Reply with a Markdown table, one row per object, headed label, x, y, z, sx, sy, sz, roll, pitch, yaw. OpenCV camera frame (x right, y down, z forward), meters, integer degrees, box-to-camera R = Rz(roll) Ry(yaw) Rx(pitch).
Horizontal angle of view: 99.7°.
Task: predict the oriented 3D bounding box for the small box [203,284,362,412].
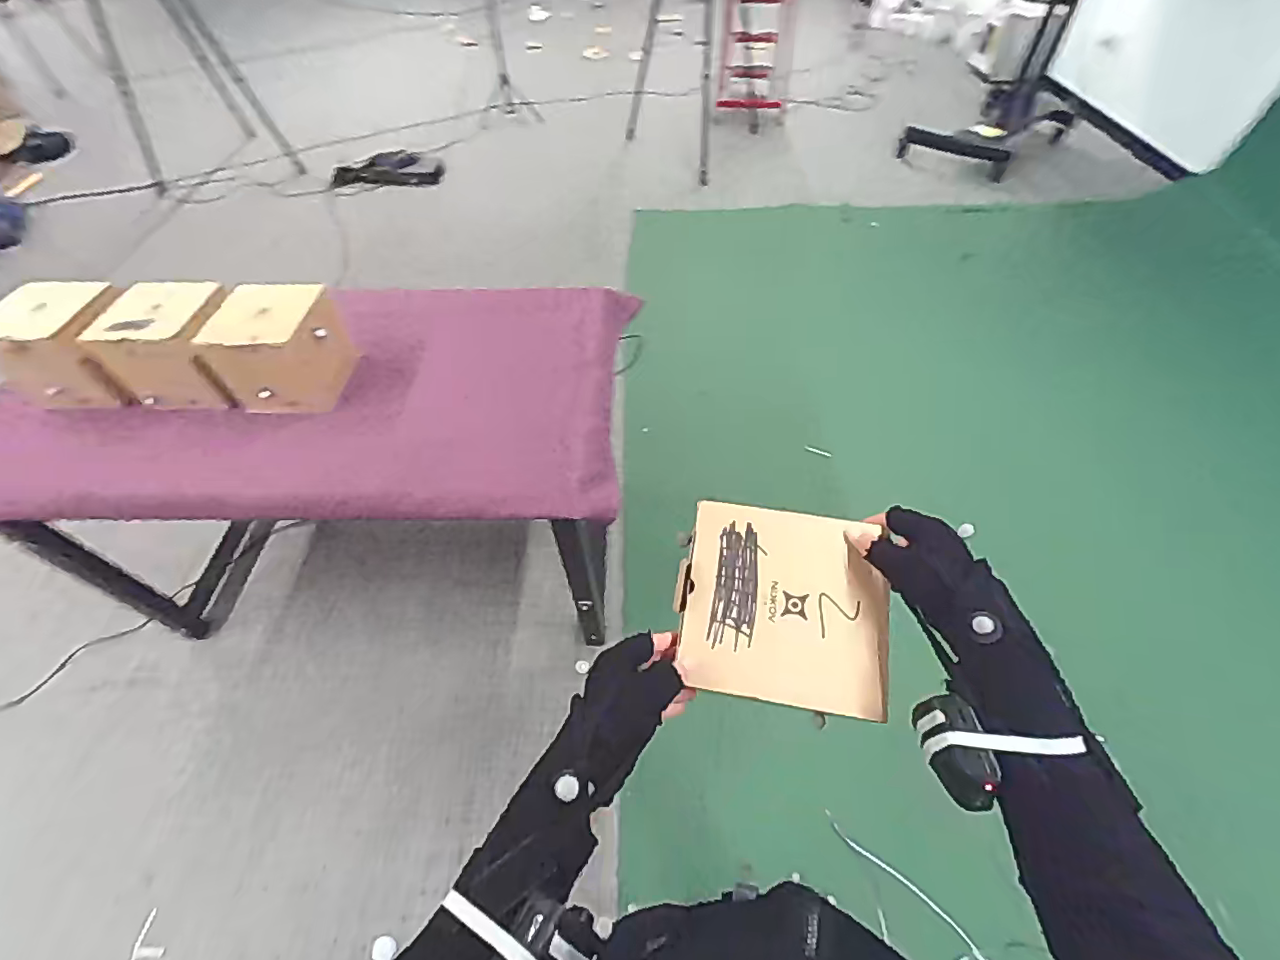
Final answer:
| label | x | y | z | sx | sy | sz | roll | pitch | yaw |
| --- | --- | --- | --- | --- | --- | --- | --- | --- | --- |
| small box | -0.666 | -0.252 | 1.037 | 0.168 | 0.176 | 0.179 | 1 | 53 | 2 |

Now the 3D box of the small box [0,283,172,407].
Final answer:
| label | x | y | z | sx | sy | sz | roll | pitch | yaw |
| --- | --- | --- | --- | --- | --- | --- | --- | --- | --- |
| small box | -1.080 | -0.263 | 1.056 | 0.168 | 0.176 | 0.179 | 0 | 53 | 3 |
